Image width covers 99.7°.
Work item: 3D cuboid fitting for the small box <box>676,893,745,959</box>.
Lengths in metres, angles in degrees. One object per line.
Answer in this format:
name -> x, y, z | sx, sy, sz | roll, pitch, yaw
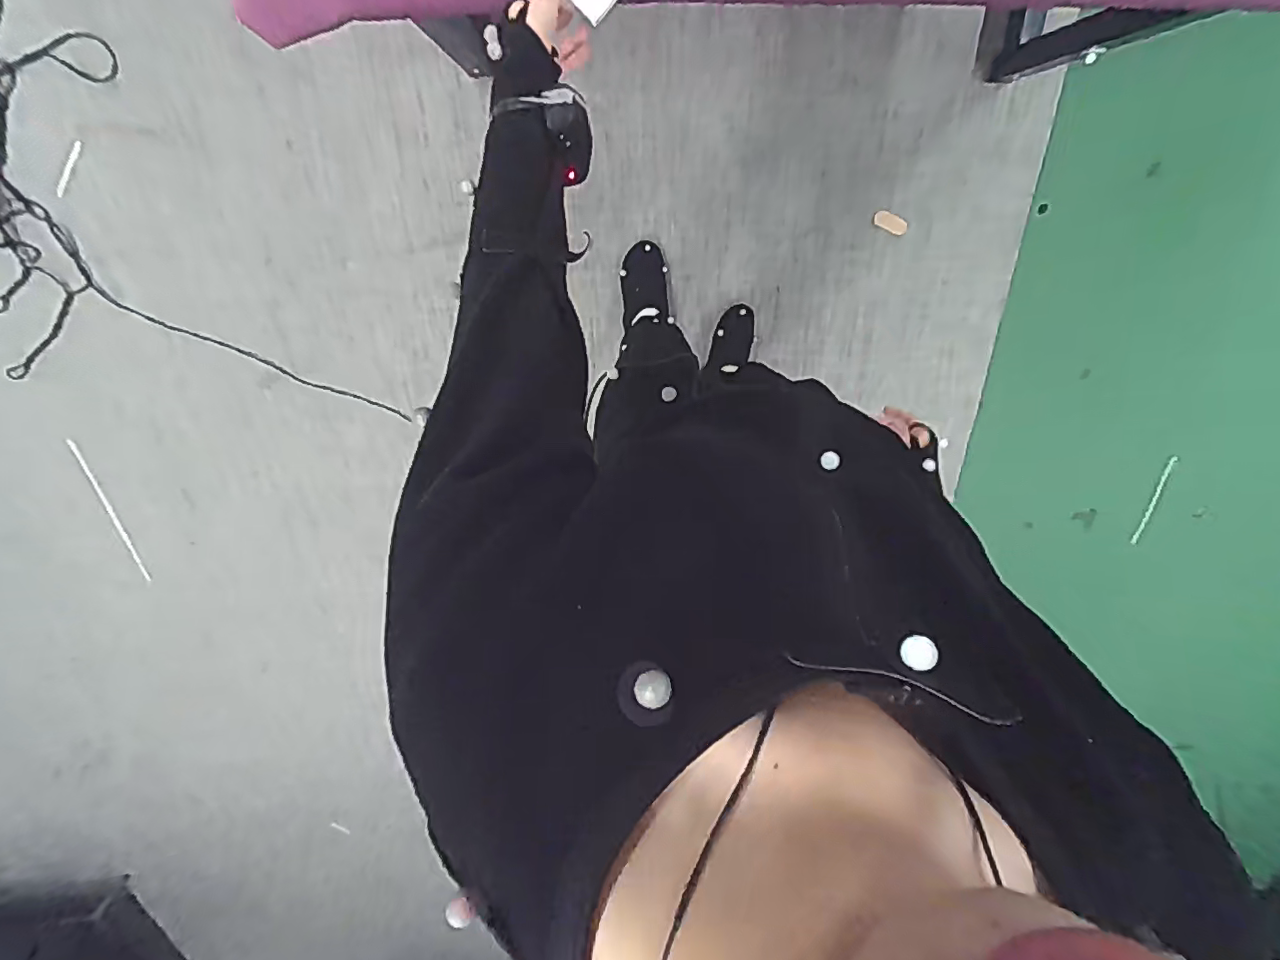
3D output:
small box -> 0.192, 1.285, 1.503 | 0.168, 0.176, 0.179 | -5, 116, -1
